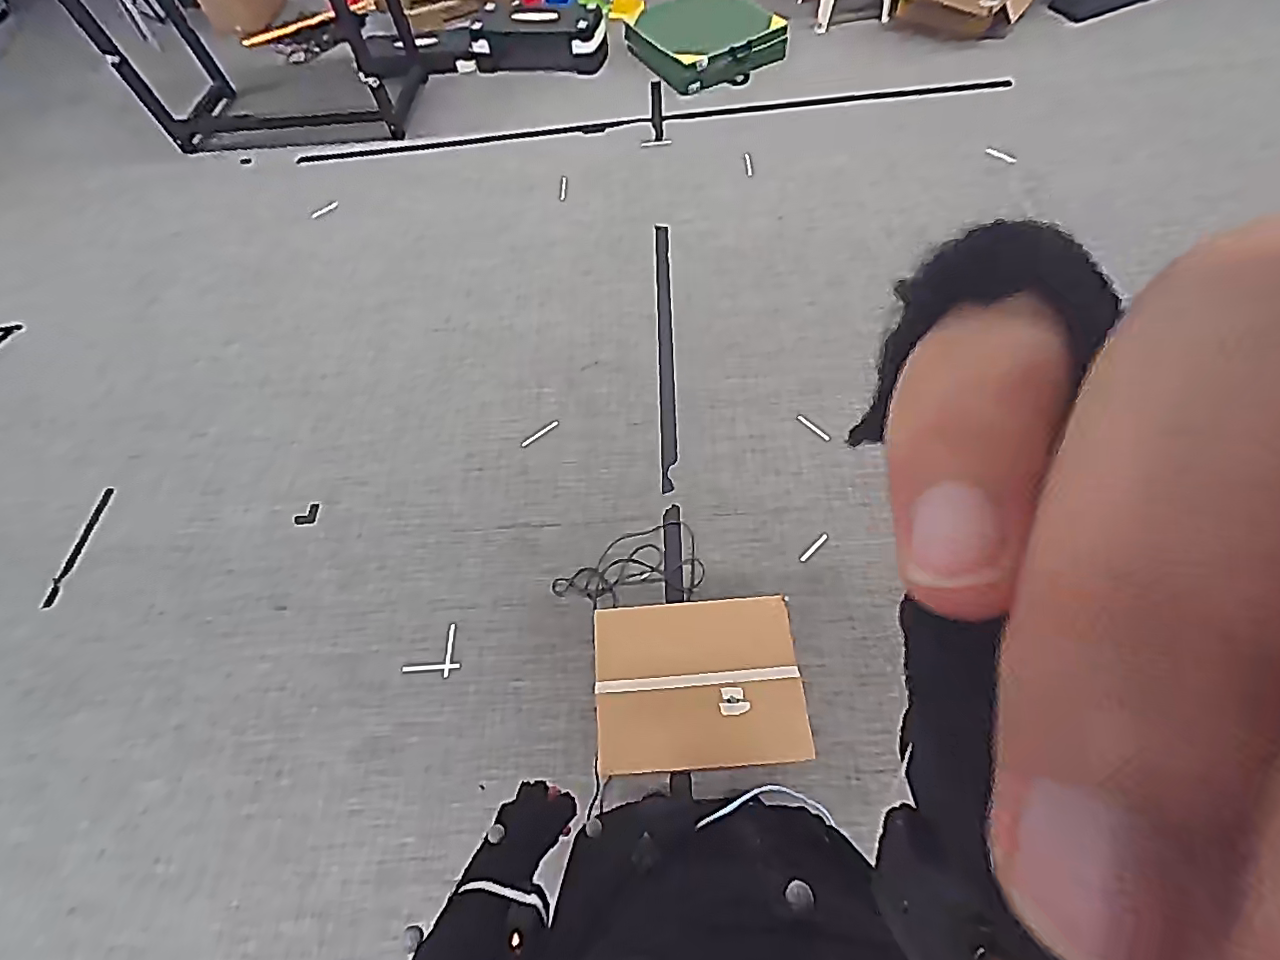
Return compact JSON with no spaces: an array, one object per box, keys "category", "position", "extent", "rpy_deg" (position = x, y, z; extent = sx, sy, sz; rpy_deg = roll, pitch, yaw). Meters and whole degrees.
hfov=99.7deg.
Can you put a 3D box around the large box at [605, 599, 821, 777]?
[{"category":"large box","position":[0.140,0.474,1.207],"extent":[0.408,0.320,0.320],"rpy_deg":[-4,62,2]}]
